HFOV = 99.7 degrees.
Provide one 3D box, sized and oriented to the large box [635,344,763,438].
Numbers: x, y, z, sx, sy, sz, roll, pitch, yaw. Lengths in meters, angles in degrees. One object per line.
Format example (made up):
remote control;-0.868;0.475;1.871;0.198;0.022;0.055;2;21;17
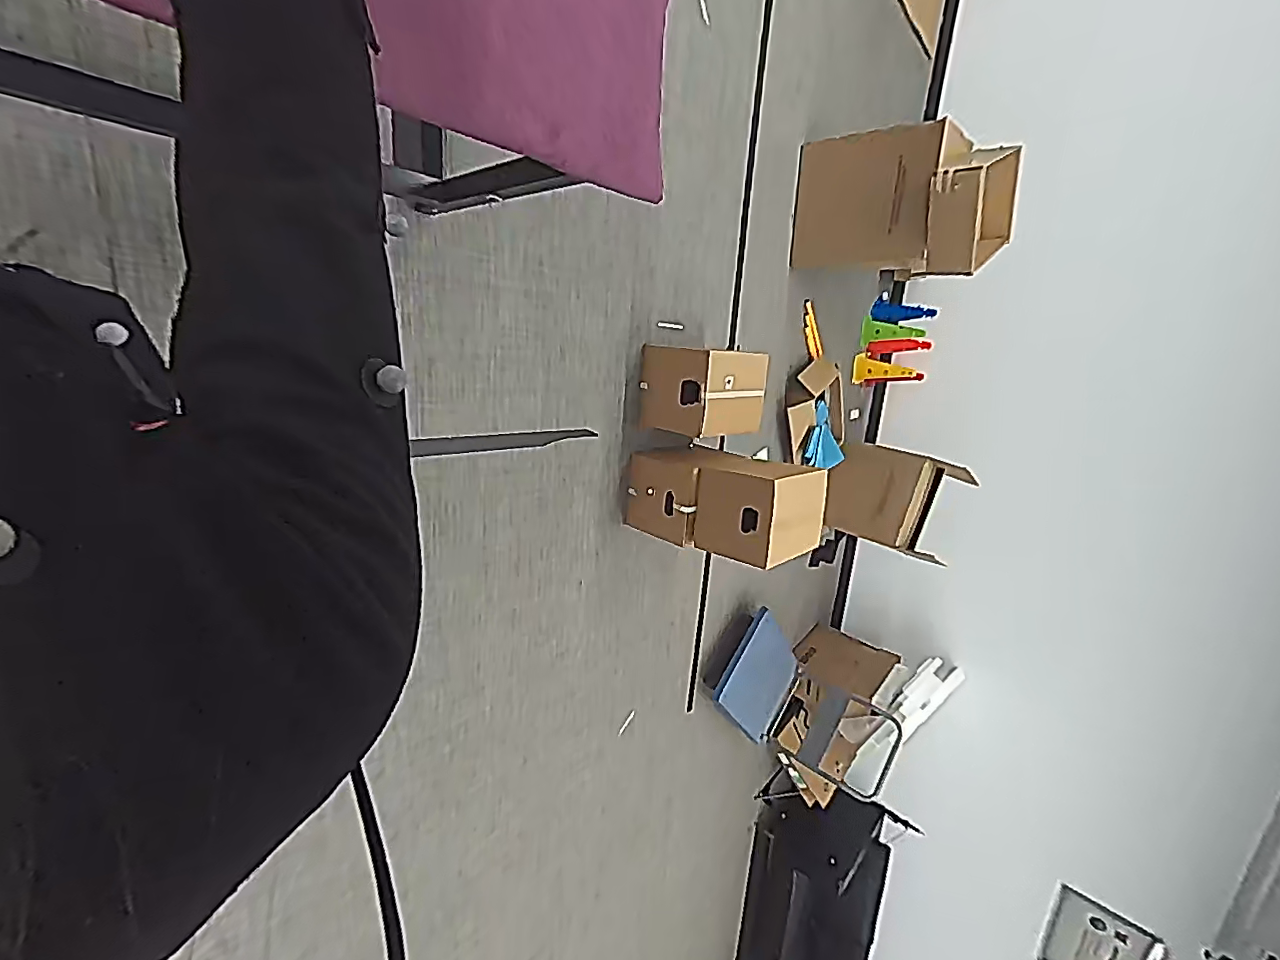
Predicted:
large box;0.232;-0.361;2.119;0.408;0.320;0.320;-12;111;-46
